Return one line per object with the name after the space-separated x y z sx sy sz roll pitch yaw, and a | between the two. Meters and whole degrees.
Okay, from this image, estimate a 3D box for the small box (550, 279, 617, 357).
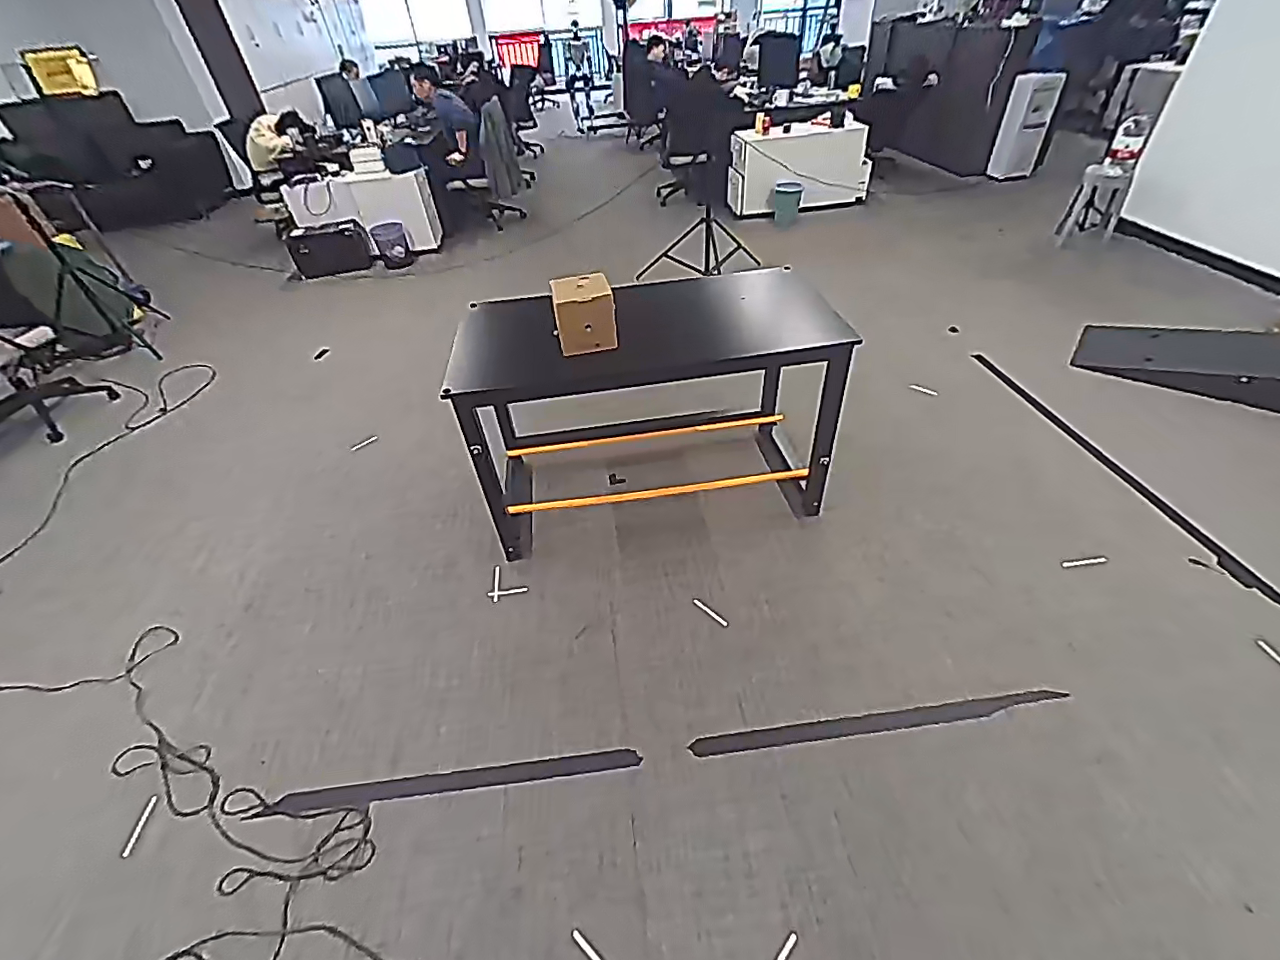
-0.170 -0.484 1.638 0.168 0.176 0.179 -11 42 -6 | small box
